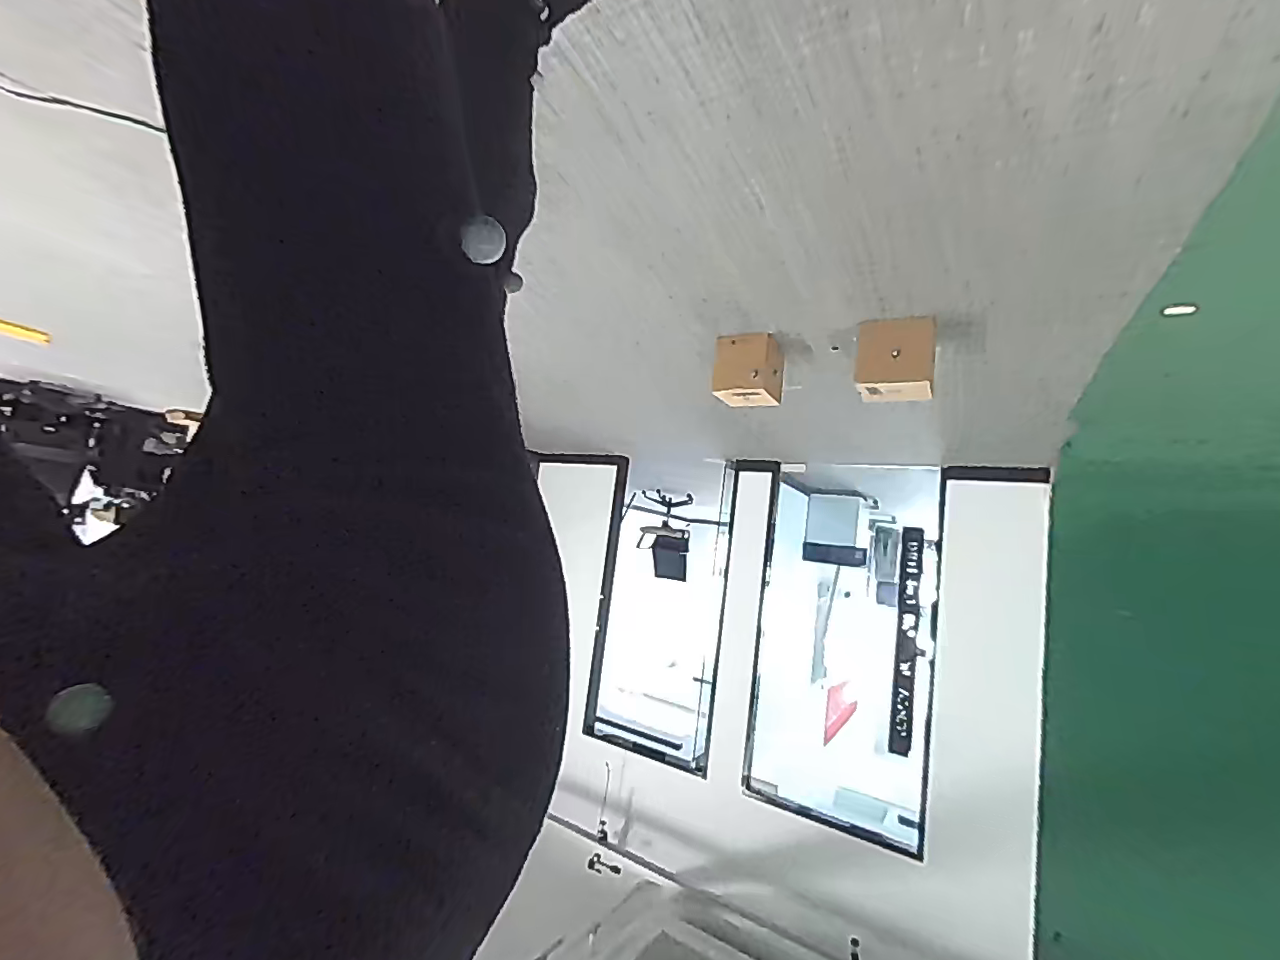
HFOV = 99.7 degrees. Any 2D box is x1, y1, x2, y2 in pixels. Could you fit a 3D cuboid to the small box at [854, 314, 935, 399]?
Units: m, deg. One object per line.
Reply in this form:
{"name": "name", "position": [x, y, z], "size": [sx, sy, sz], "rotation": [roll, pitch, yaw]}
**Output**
{"name": "small box", "position": [0.668, -0.318, 1.414], "size": [0.179, 0.176, 0.168], "rotation": [2, 172, 30]}
